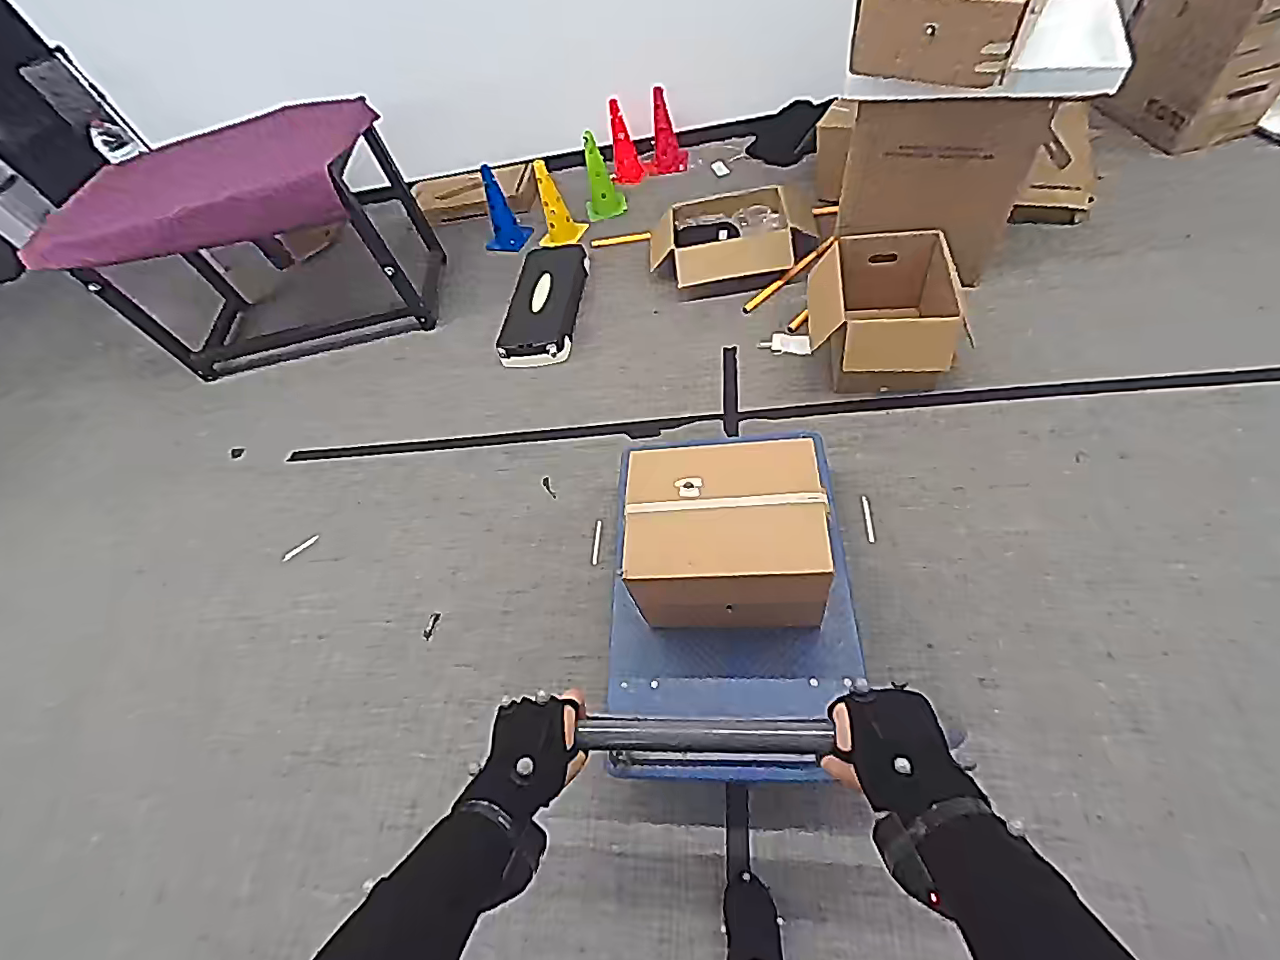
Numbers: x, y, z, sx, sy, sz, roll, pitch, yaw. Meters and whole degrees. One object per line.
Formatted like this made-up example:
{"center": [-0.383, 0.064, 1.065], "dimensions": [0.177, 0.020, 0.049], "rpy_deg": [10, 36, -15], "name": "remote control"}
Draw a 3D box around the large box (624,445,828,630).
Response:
{"center": [0.197, 0.148, 1.257], "dimensions": [0.408, 0.320, 0.320], "rpy_deg": [-5, 55, 11], "name": "large box"}
